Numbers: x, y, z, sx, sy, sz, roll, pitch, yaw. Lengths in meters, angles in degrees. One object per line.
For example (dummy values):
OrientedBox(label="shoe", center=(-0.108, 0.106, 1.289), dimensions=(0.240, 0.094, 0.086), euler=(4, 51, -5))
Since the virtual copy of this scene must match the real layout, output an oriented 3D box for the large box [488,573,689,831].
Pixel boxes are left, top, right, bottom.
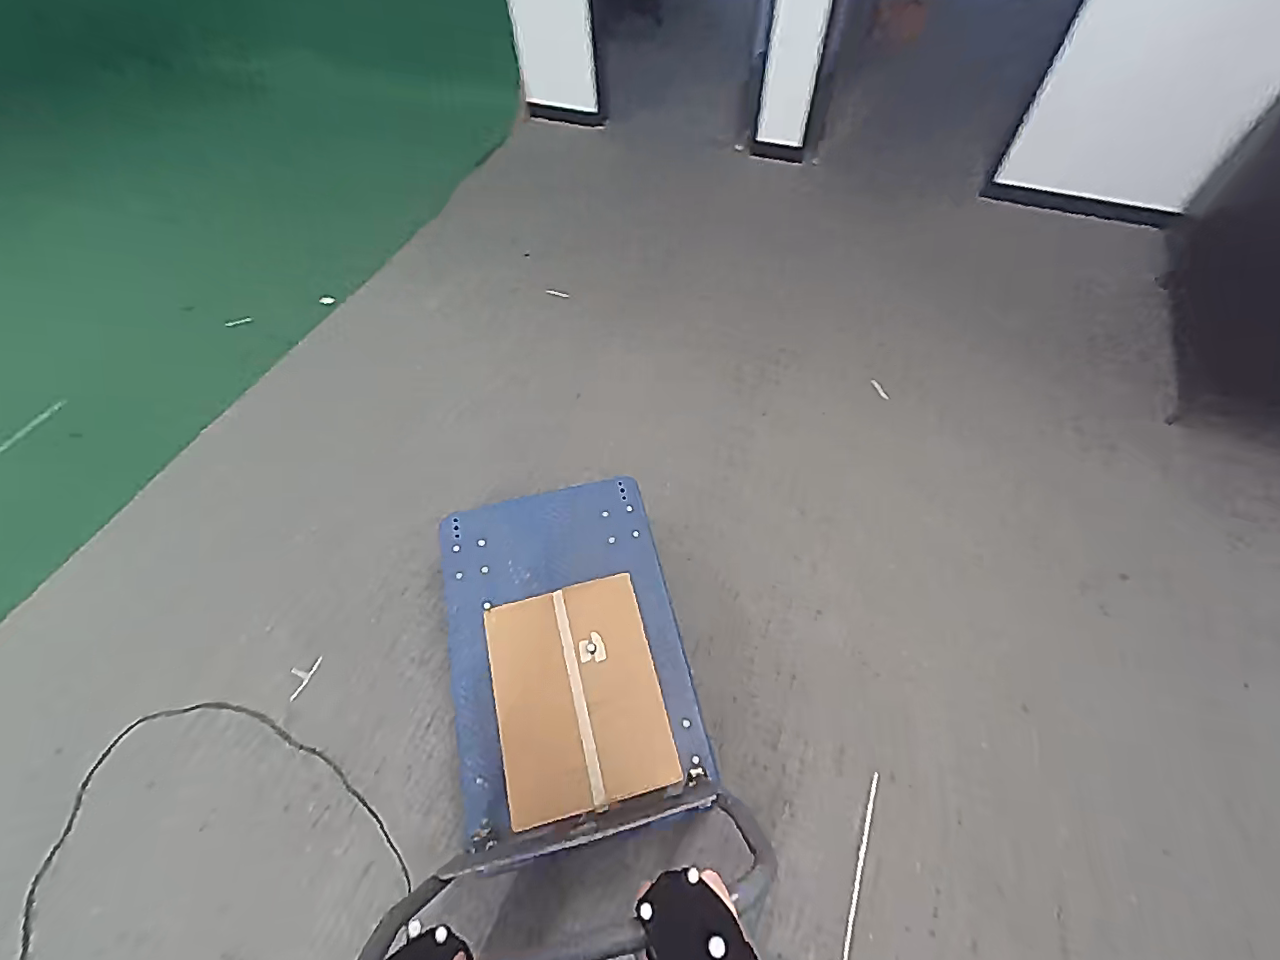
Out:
OrientedBox(label="large box", center=(-0.108, 0.470, 1.164), dimensions=(0.320, 0.320, 0.408), euler=(-14, 62, -7))
